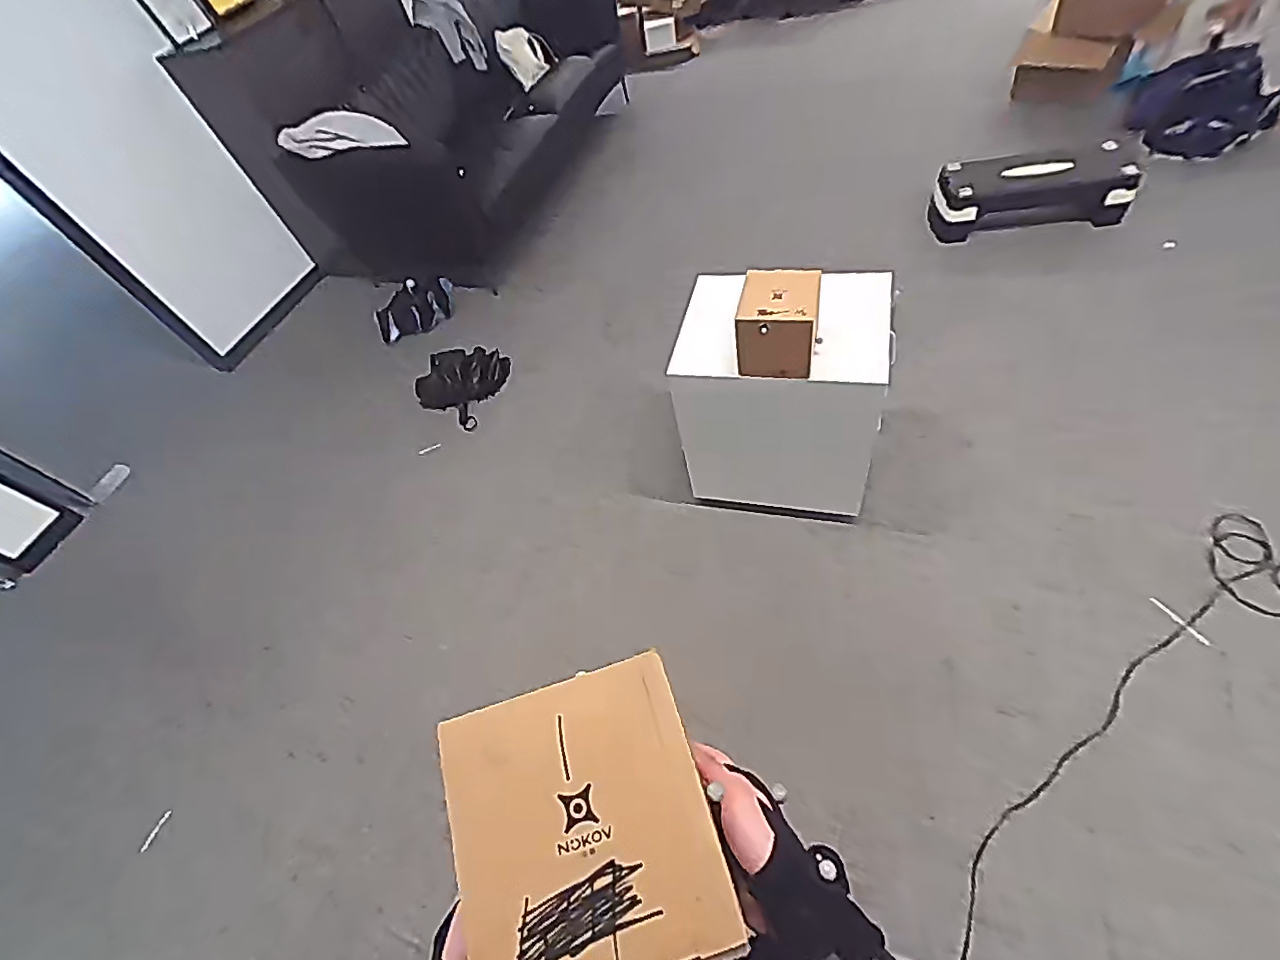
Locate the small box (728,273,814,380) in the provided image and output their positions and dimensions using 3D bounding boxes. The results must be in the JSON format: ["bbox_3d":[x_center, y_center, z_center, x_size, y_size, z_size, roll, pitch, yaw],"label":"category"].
[{"bbox_3d":[0.302,-0.354,1.244,0.168,0.176,0.179,6,55,18],"label":"small box"}]
